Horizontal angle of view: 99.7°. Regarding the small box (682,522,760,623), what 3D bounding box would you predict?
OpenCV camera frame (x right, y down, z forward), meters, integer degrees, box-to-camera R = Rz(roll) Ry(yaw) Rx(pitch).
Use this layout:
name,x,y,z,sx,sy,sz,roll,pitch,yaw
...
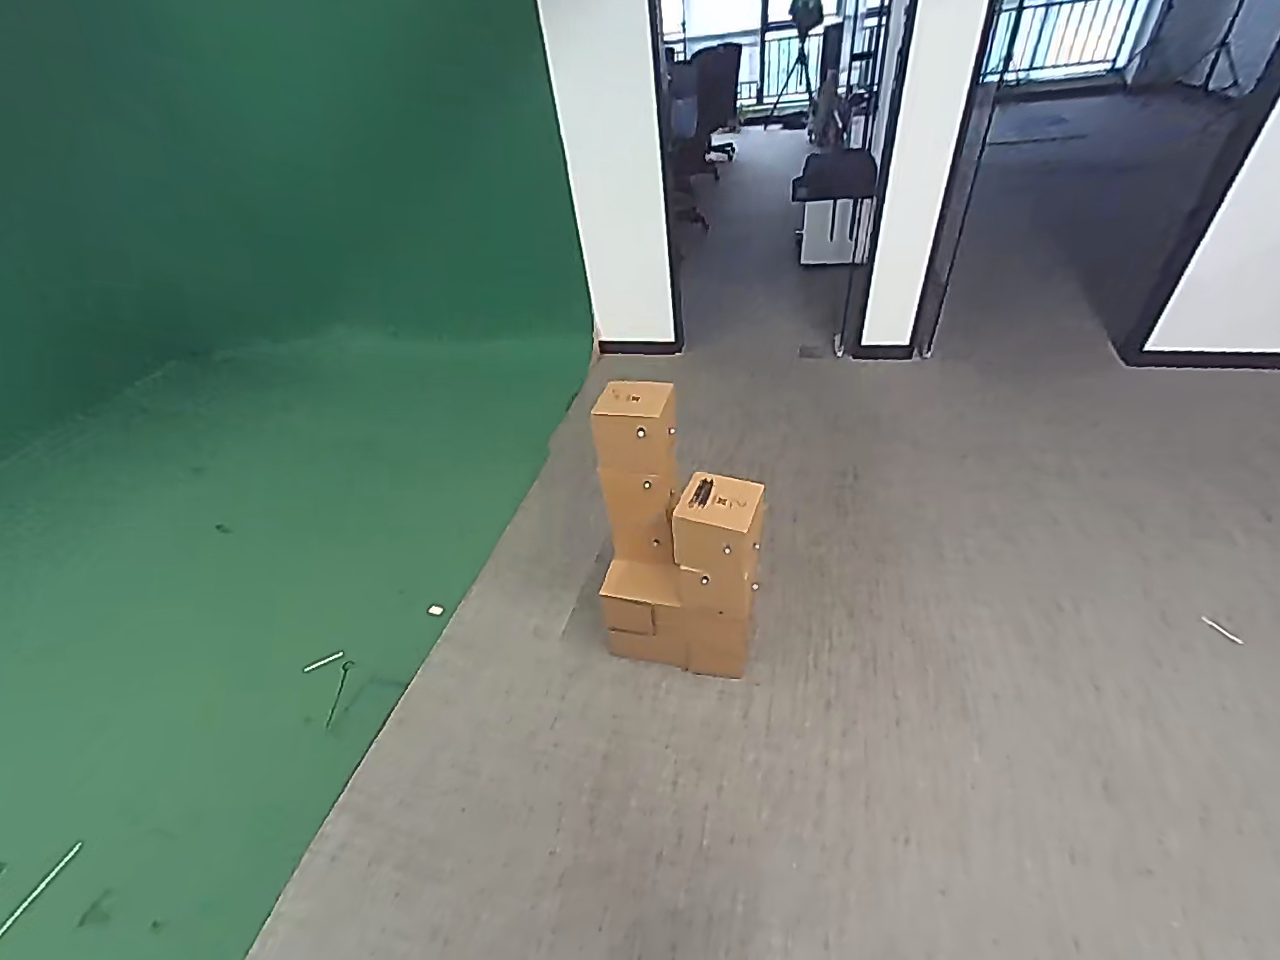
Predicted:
name,x,y,z,sx,sy,sz,roll,pitch,yaw
small box,0.211,0.238,1.405,0.168,0.176,0.179,8,42,18

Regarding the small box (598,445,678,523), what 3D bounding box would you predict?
name,x,y,z,sx,sy,sz,roll,pitch,yaw
small box,0.001,0.001,1.476,0.179,0.176,0.168,5,39,14

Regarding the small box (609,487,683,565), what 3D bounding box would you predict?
name,x,y,z,sx,sy,sz,roll,pitch,yaw
small box,0.025,0.129,1.573,0.179,0.176,0.168,3,39,14

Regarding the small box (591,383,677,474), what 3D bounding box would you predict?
name,x,y,z,sx,sy,sz,roll,pitch,yaw
small box,-0.006,-0.130,1.374,0.179,0.176,0.168,5,39,16
